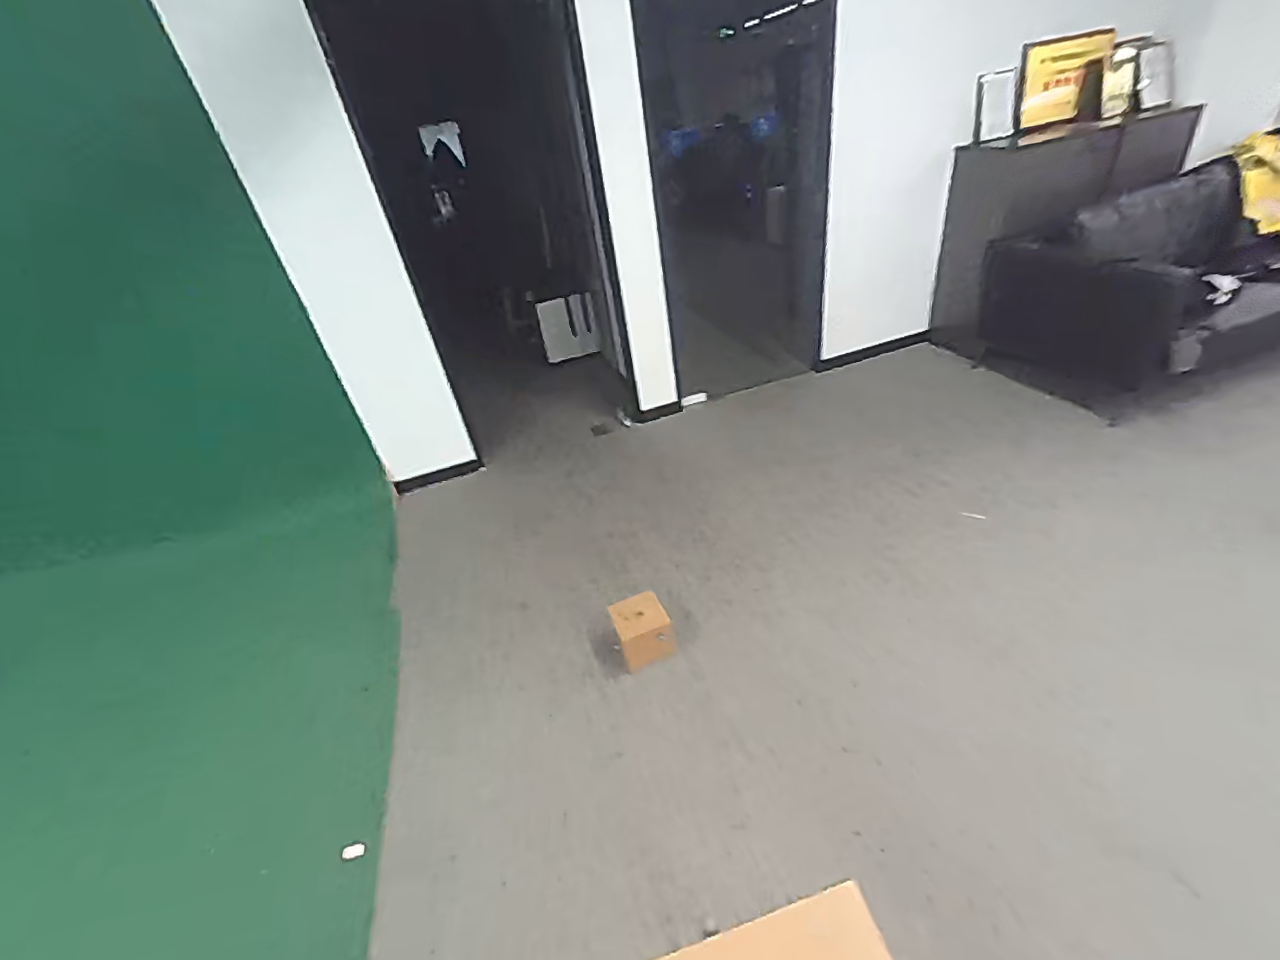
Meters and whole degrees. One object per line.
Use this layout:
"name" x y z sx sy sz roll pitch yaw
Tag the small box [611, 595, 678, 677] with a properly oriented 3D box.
"small box" 0.020 0.527 1.828 0.179 0.176 0.168 -20 35 -13
